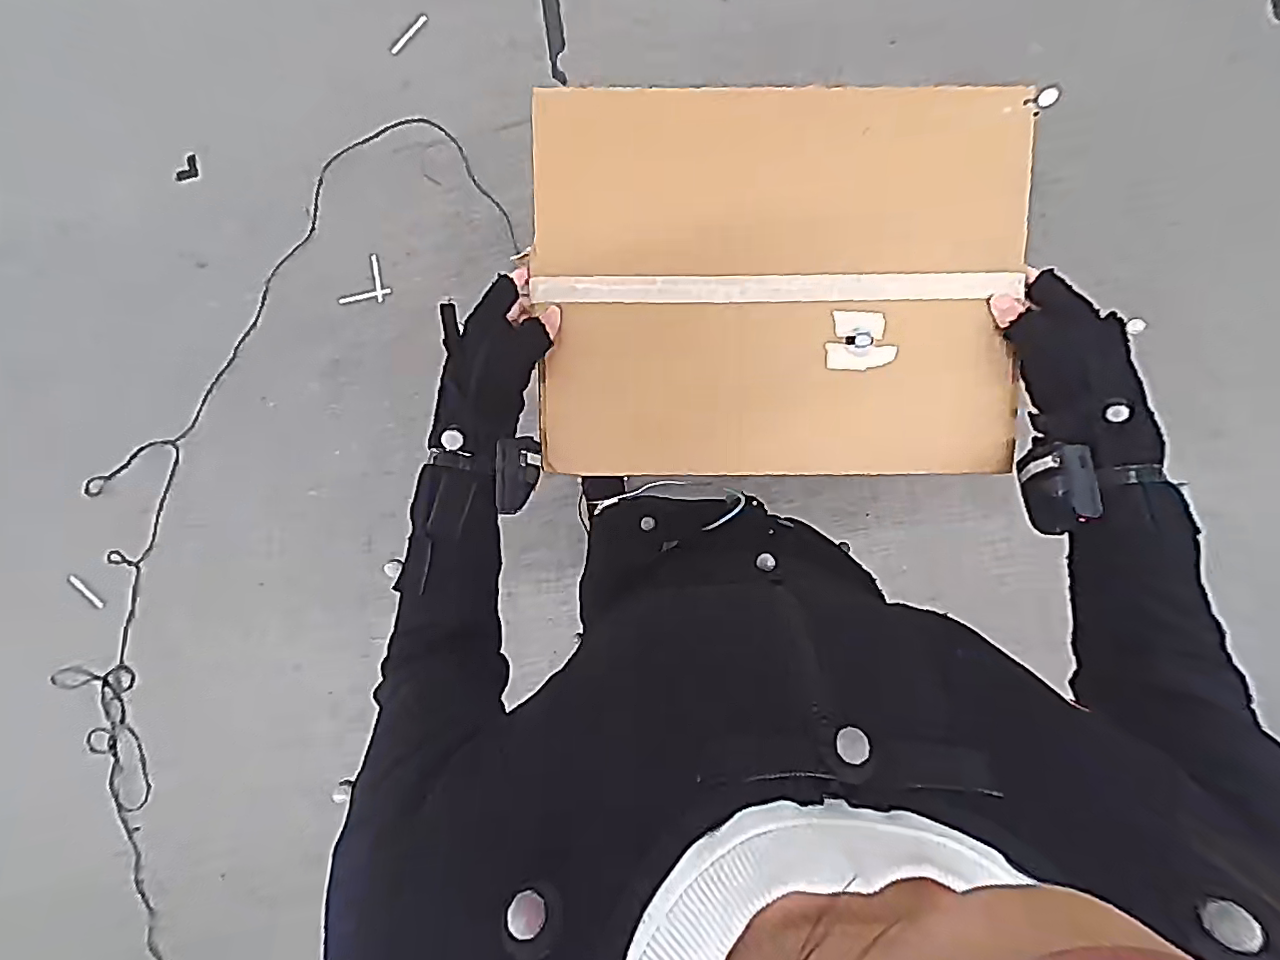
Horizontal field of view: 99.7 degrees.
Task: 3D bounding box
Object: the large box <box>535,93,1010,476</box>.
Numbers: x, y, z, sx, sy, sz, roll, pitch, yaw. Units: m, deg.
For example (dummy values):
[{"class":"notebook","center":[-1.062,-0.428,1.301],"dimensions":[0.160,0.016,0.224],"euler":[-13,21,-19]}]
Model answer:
[{"class":"large box","center":[0.112,-0.178,0.611],"dimensions":[0.408,0.320,0.320],"euler":[-1,96,-1]}]
